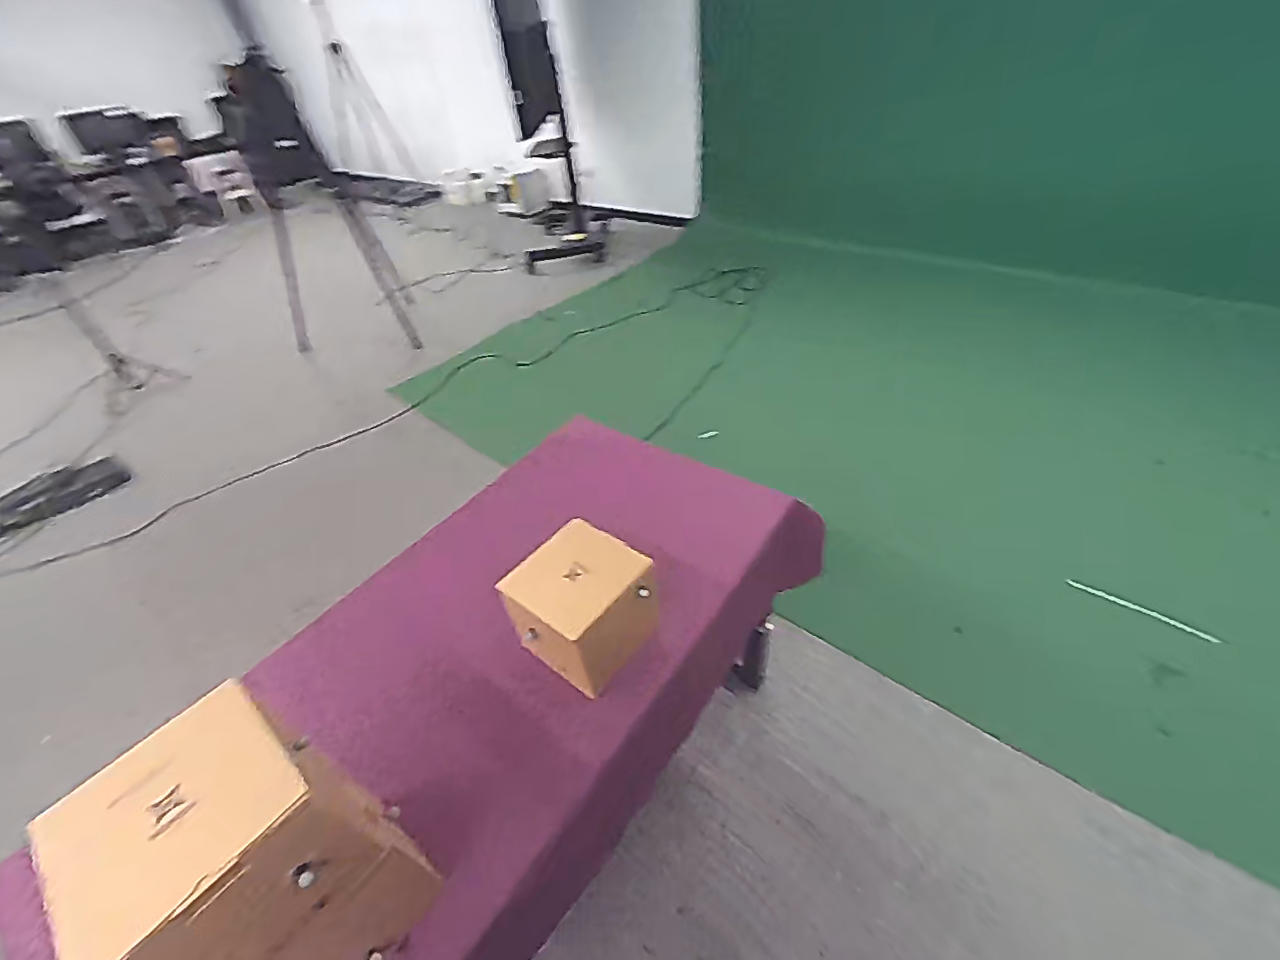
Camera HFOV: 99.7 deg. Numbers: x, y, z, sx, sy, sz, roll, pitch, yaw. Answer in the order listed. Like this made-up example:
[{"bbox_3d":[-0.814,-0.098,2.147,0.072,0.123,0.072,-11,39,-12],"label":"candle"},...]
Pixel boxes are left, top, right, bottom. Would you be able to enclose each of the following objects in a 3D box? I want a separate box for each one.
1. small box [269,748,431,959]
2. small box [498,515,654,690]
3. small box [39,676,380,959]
[{"bbox_3d":[-0.362,0.454,0.610,0.168,0.176,0.179,24,50,32],"label":"small box"},{"bbox_3d":[-0.090,0.195,0.862,0.168,0.176,0.179,25,50,32],"label":"small box"},{"bbox_3d":[-0.382,0.330,0.505,0.179,0.176,0.168,25,51,33],"label":"small box"}]
